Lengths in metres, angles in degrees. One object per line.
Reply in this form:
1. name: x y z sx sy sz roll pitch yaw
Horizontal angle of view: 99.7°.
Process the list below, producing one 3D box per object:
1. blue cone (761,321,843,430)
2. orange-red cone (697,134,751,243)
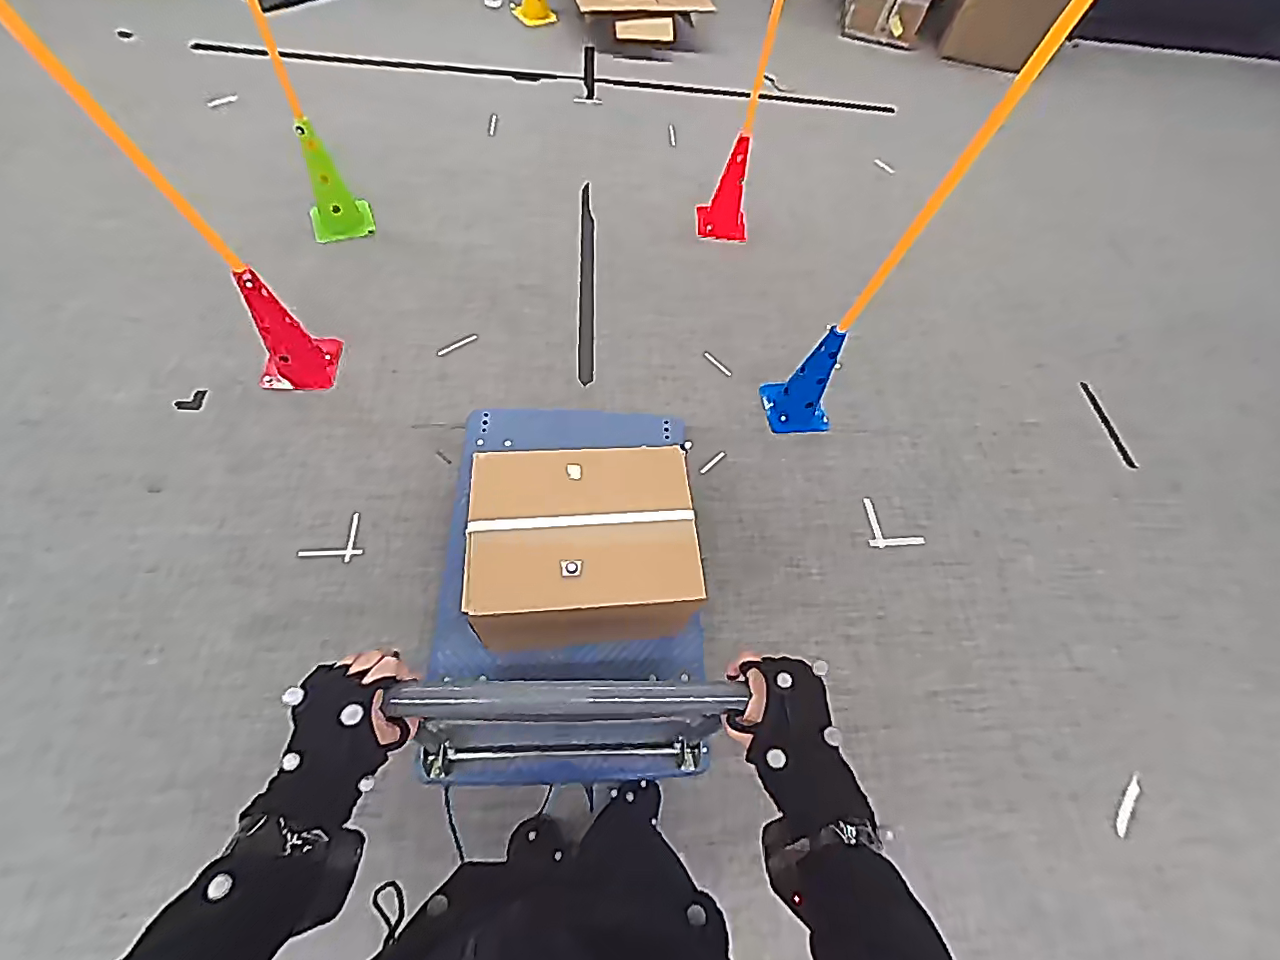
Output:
1. blue cone: 0.527 -0.326 1.649 0.193 0.380 0.192 -3 61 -9
2. orange-red cone: 0.353 -1.124 2.052 0.199 0.360 0.198 7 61 -5
